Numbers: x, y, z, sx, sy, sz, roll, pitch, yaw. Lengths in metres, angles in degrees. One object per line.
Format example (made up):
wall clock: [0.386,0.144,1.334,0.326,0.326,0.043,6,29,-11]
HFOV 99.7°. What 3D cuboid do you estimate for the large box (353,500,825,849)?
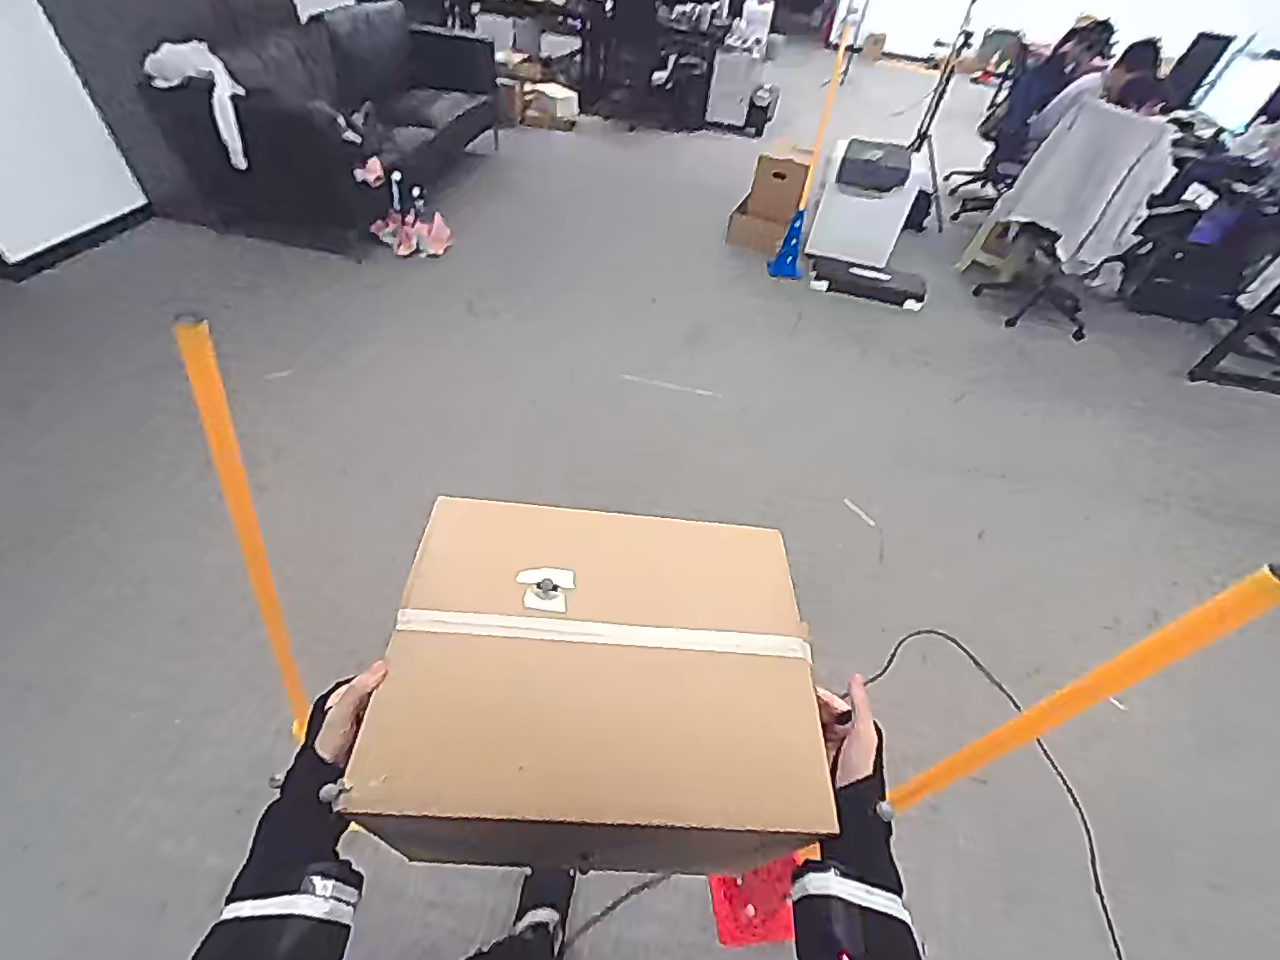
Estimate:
large box: [-0.050,0.249,0.659,0.408,0.320,0.320,5,49,-5]
